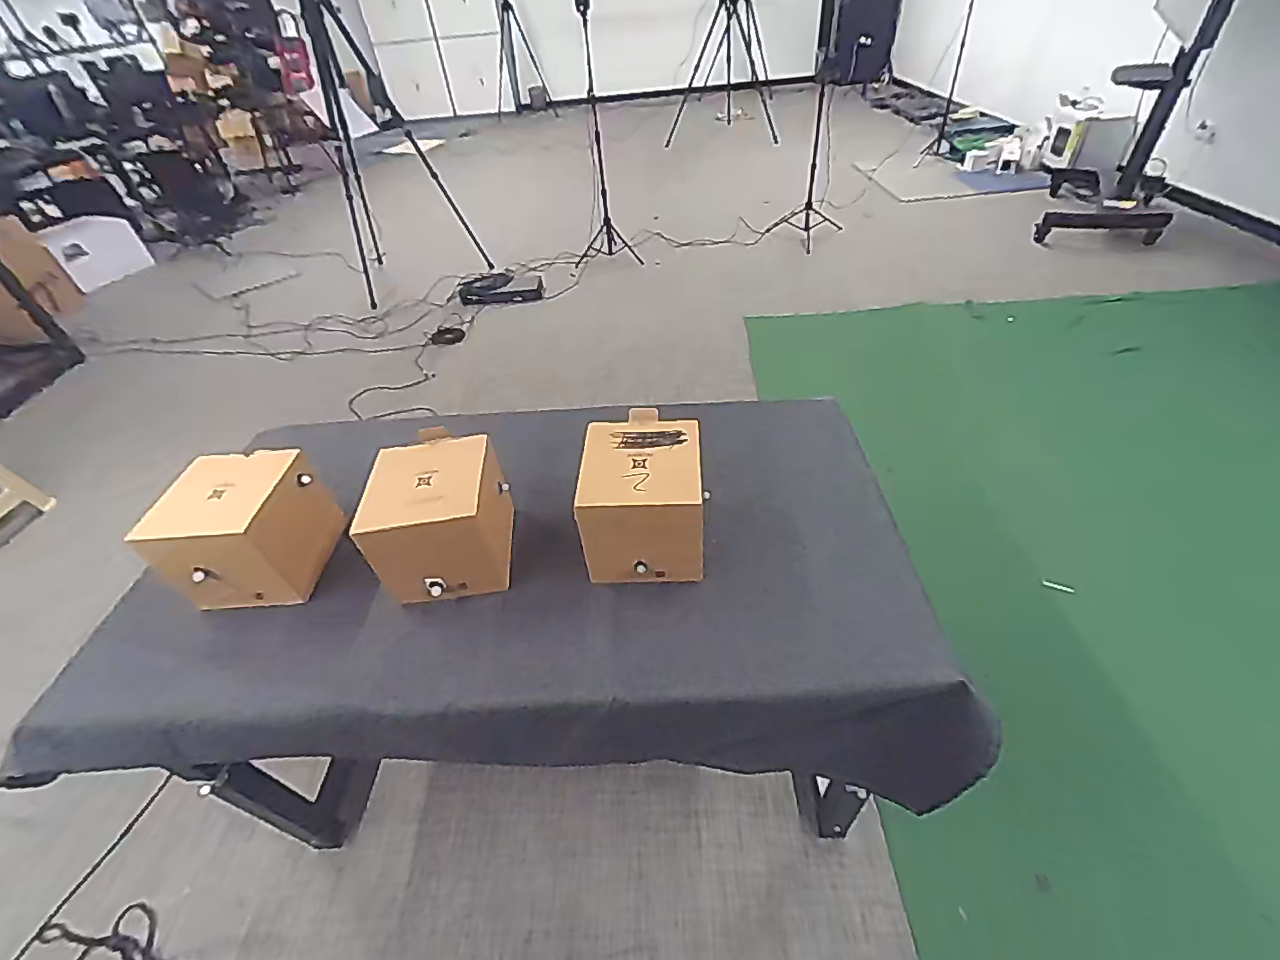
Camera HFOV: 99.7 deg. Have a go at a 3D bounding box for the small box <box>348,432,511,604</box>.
[{"bbox_3d":[-0.295,0.056,0.802,0.168,0.176,0.179,-10,43,-2],"label":"small box"}]

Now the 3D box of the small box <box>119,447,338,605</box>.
[{"bbox_3d":[-0.593,0.074,0.814,0.168,0.176,0.179,-4,42,1],"label":"small box"}]
